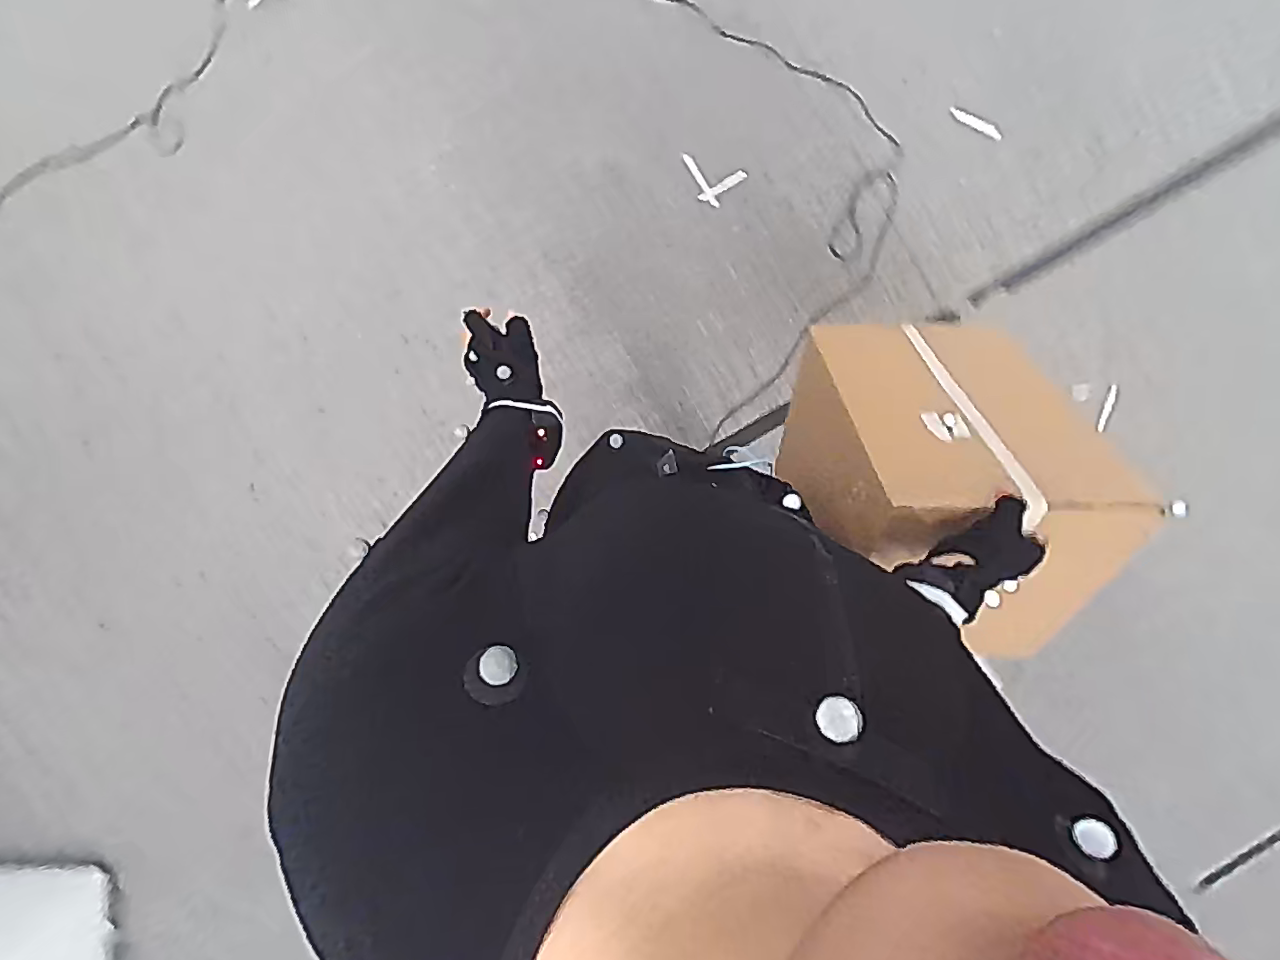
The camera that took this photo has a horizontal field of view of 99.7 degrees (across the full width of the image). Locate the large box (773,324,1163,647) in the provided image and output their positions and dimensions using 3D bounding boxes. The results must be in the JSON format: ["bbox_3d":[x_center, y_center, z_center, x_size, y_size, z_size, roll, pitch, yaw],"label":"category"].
[{"bbox_3d":[0.419,-0.001,0.835,0.320,0.408,0.320,1,135,0],"label":"large box"}]
